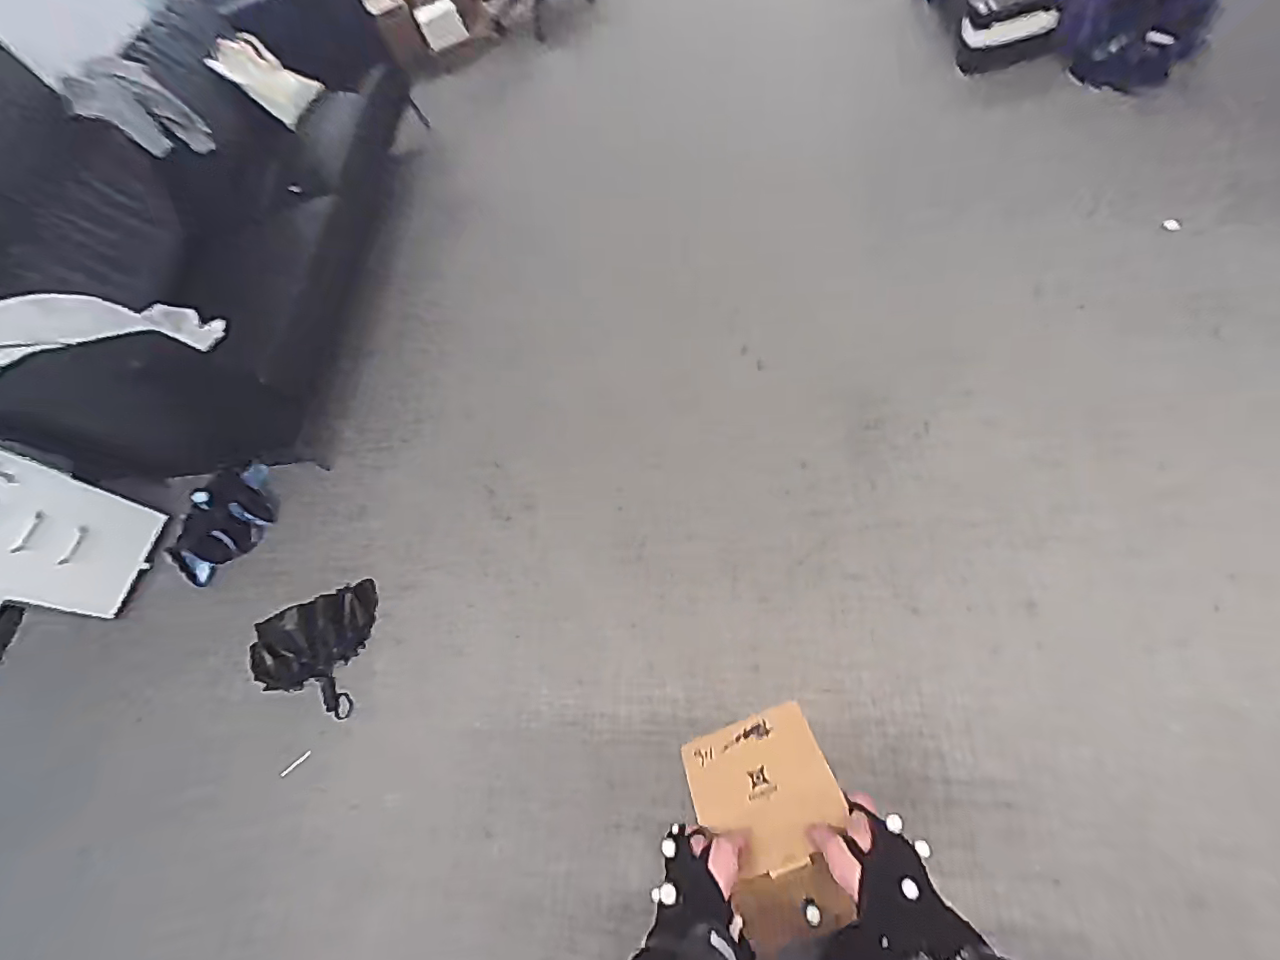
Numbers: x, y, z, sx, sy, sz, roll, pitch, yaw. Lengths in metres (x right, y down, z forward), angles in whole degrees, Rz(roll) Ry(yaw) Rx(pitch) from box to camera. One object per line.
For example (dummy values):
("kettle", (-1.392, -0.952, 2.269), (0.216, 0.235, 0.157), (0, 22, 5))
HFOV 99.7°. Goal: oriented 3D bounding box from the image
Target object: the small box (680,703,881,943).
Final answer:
("small box", (0.169, 0.422, 0.664), (0.168, 0.176, 0.179), (-24, 26, 2))
